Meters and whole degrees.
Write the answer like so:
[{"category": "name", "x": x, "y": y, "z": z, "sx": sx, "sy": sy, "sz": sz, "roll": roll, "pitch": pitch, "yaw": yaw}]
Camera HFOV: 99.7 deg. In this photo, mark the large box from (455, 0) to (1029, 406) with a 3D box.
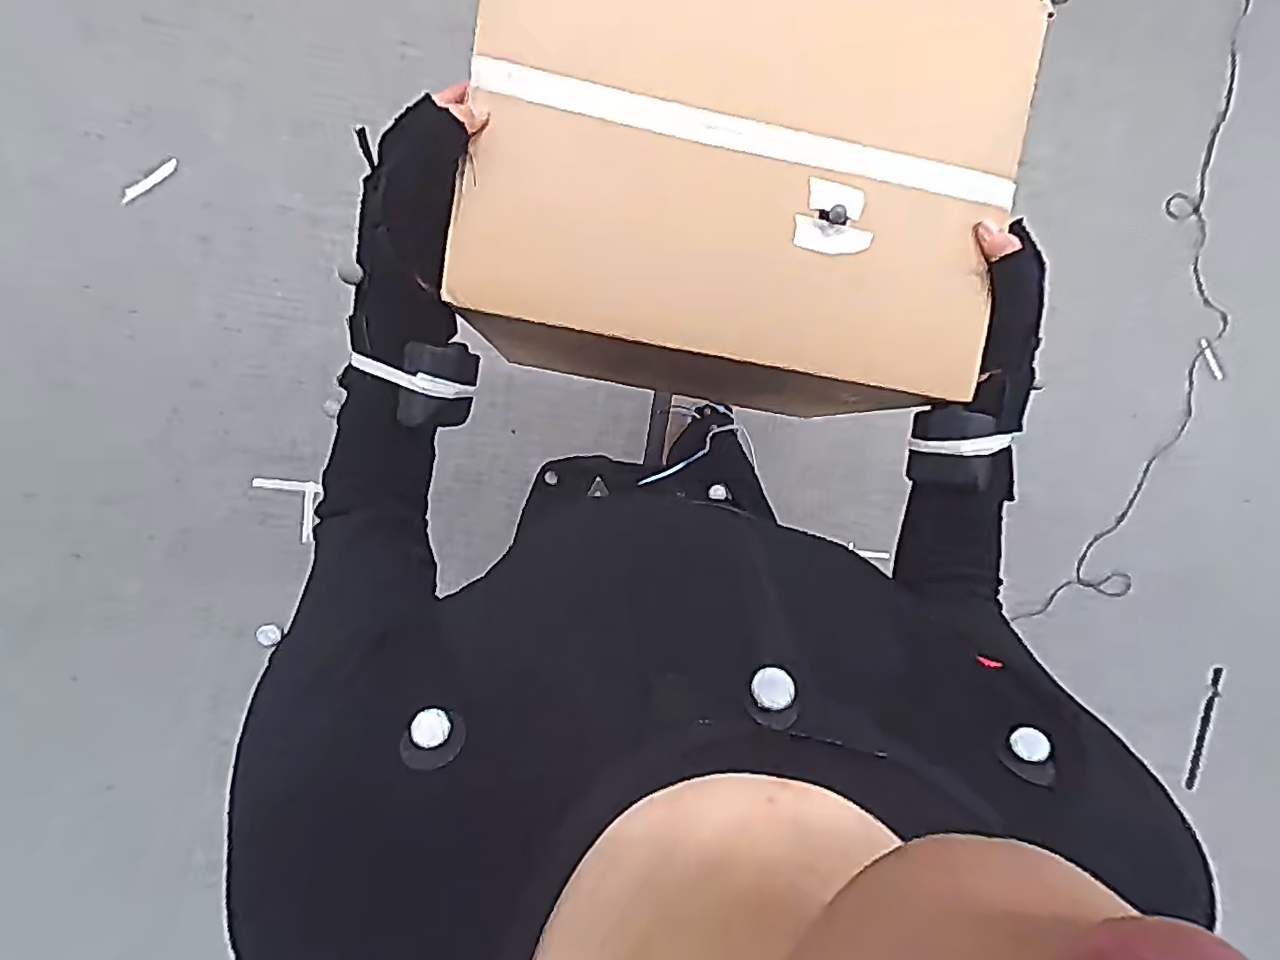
[{"category": "large box", "x": 0.065, "y": -0.263, "z": 0.548, "sx": 0.408, "sy": 0.320, "sz": 0.320, "roll": 9, "pitch": 95, "yaw": -7}]
